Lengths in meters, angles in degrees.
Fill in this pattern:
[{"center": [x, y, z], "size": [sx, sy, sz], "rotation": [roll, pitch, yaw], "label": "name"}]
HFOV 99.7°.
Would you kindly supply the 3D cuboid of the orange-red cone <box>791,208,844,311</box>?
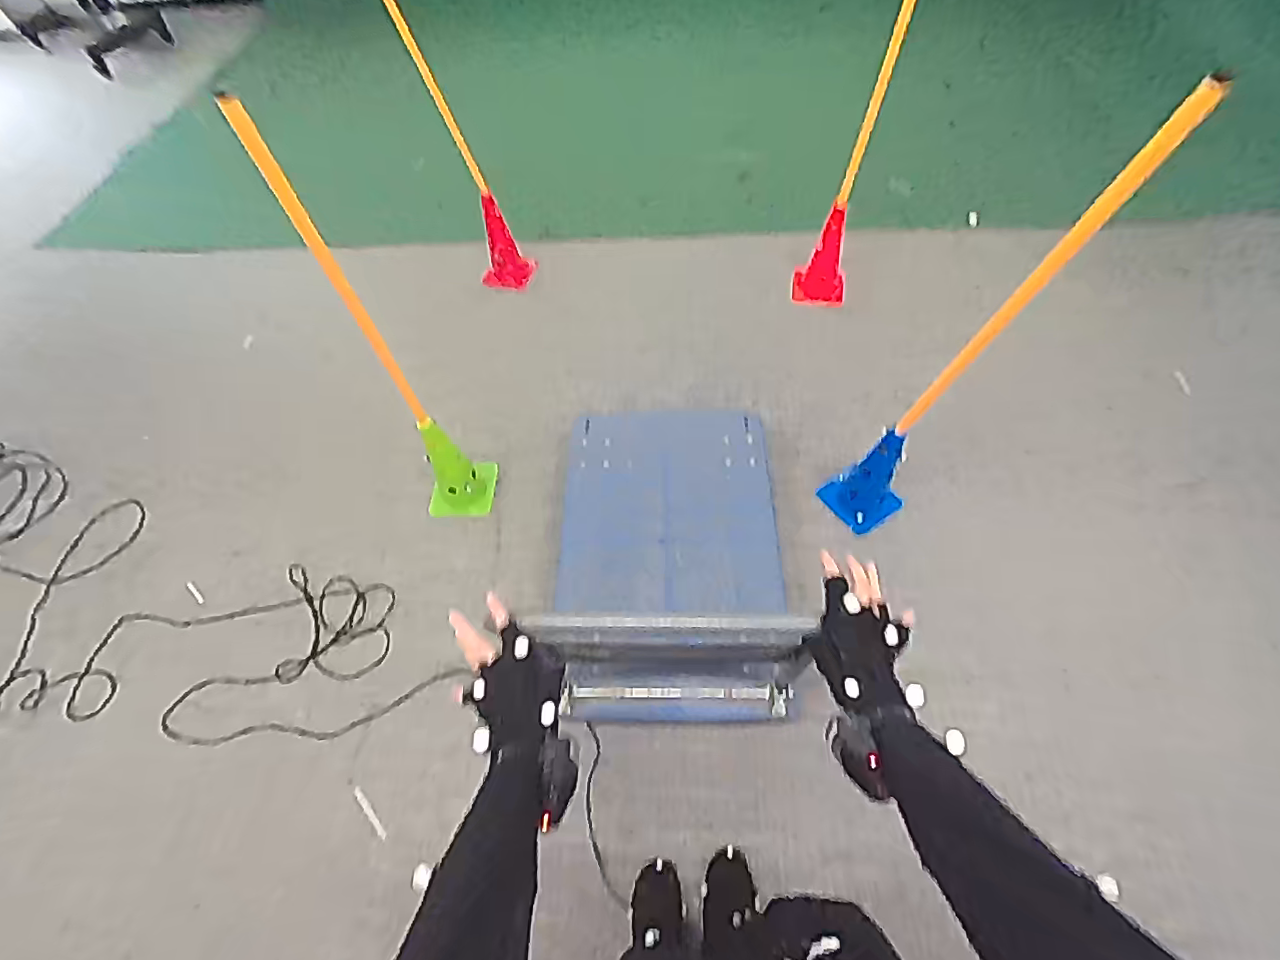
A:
[{"center": [0.710, -0.850, 2.047], "size": [0.198, 0.360, 0.199], "rotation": [9, 59, 10], "label": "orange-red cone"}]
